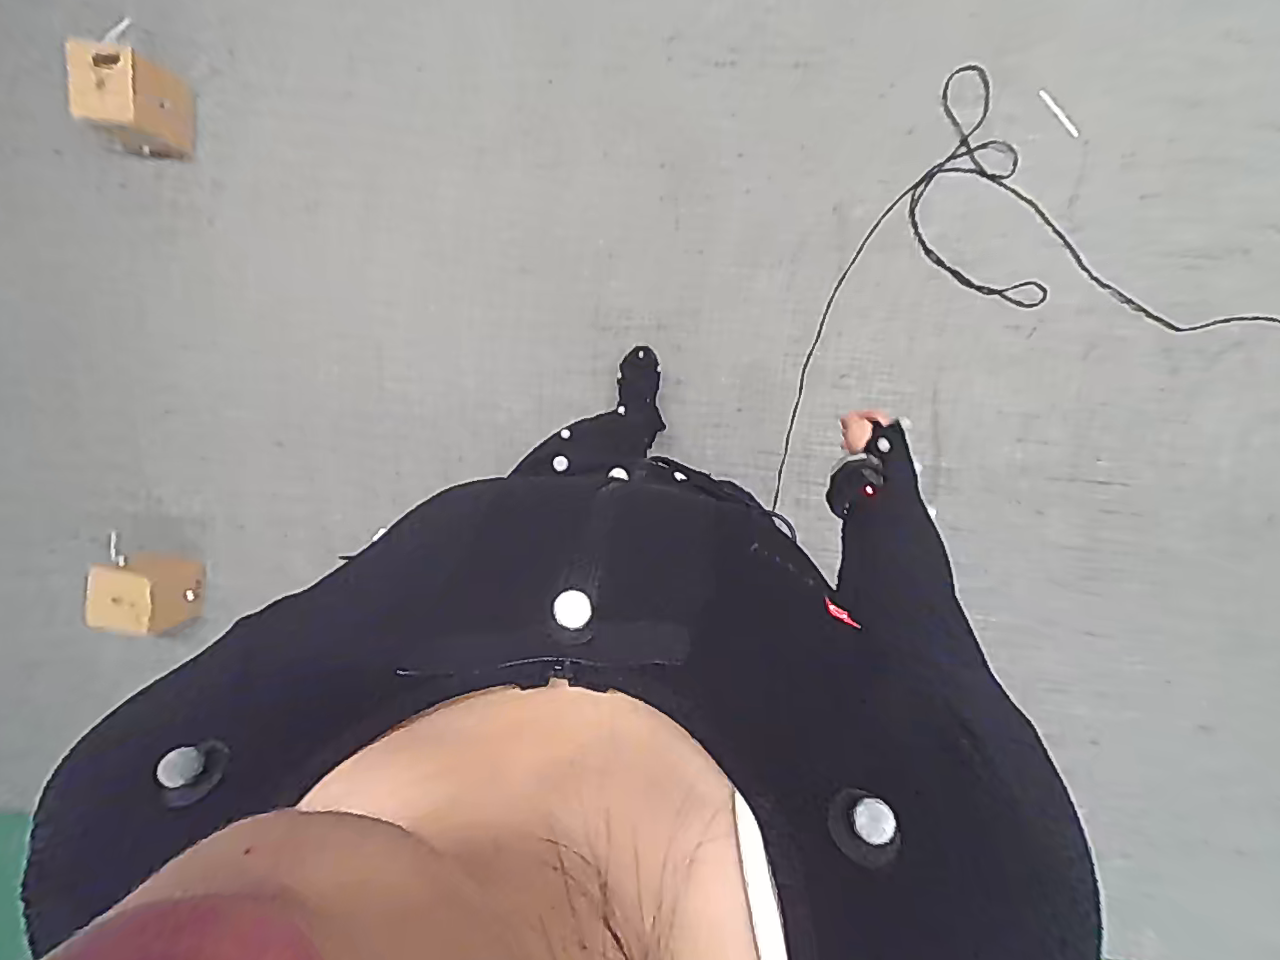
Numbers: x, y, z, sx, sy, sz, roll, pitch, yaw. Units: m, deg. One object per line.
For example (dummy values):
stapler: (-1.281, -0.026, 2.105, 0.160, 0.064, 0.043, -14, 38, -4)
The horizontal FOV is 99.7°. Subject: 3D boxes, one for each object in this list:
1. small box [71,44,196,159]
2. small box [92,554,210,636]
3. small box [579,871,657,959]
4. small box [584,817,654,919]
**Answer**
small box: (-1.270, -0.948, 1.366, 0.168, 0.176, 0.179, 6, 97, 3)
small box: (-1.357, 0.312, 1.506, 0.179, 0.176, 0.168, 10, 97, 3)
small box: (-0.053, 1.080, 1.286, 0.168, 0.176, 0.179, 8, 96, 3)
small box: (-0.052, 1.050, 1.447, 0.168, 0.176, 0.179, 3, 95, 3)
